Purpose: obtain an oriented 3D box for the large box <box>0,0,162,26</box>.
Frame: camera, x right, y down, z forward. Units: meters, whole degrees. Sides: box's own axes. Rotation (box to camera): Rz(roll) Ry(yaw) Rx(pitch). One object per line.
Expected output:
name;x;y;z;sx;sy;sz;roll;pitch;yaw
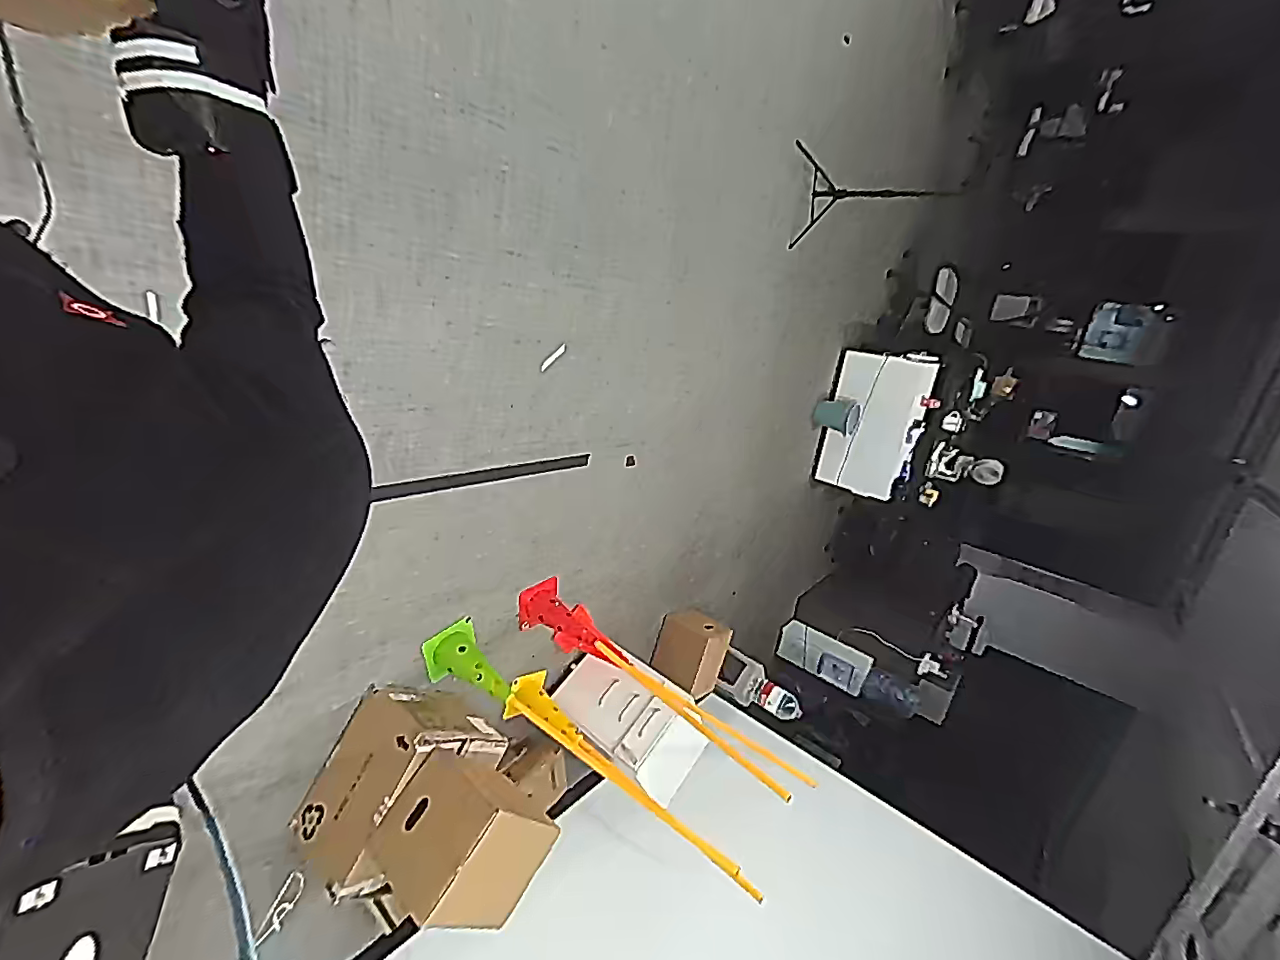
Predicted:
large box;-0.523;-0.480;0.232;0.408;0.320;0.320;-15;125;-53
